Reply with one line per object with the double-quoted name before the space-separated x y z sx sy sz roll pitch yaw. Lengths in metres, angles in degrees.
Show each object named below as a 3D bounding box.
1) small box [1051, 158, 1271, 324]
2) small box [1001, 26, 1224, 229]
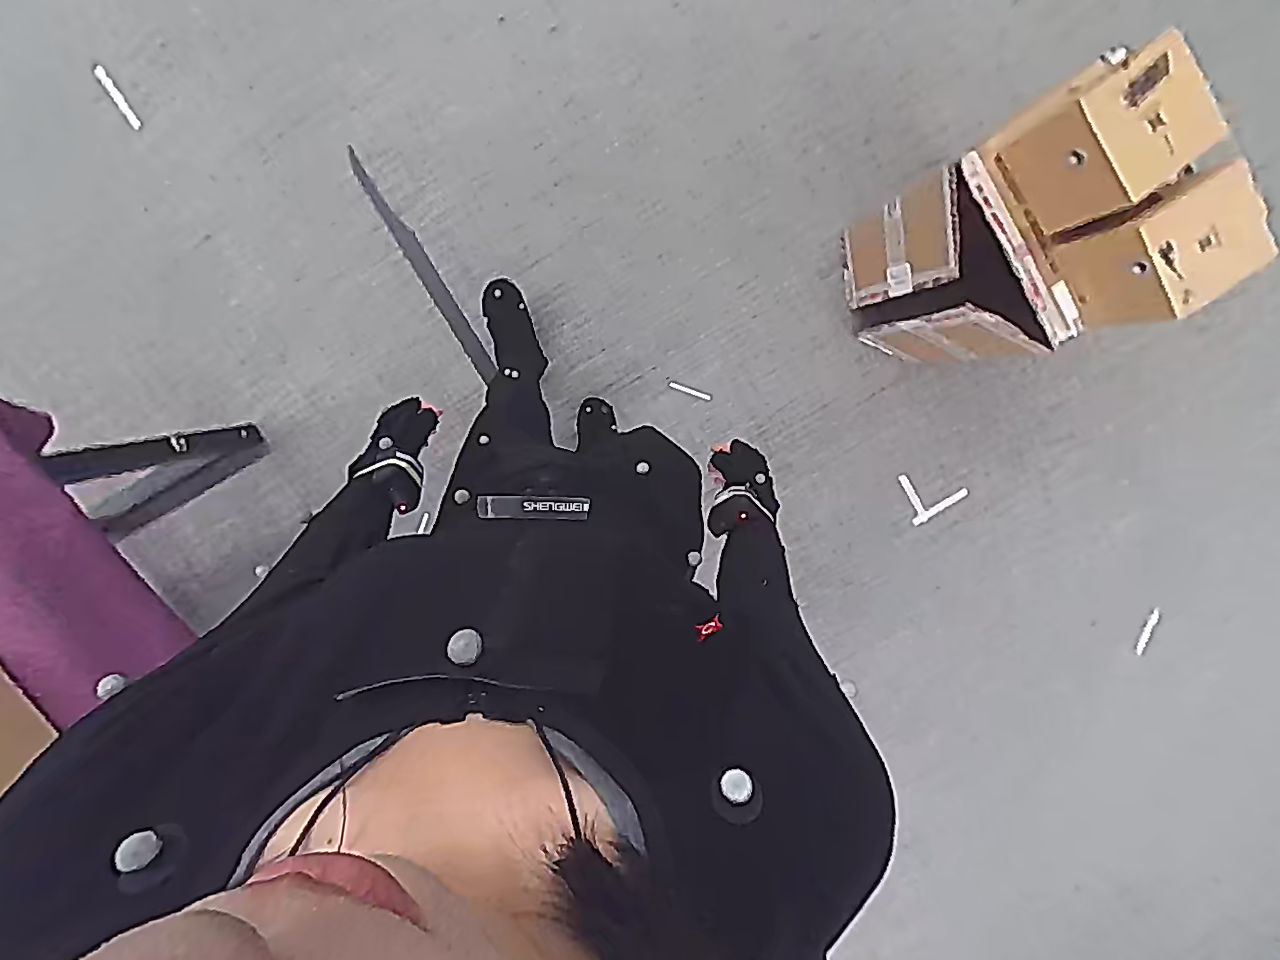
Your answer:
"small box" 0.839 -0.376 0.886 0.179 0.176 0.168 -34 102 3
"small box" 0.724 -0.534 0.851 0.168 0.176 0.179 -37 99 4
